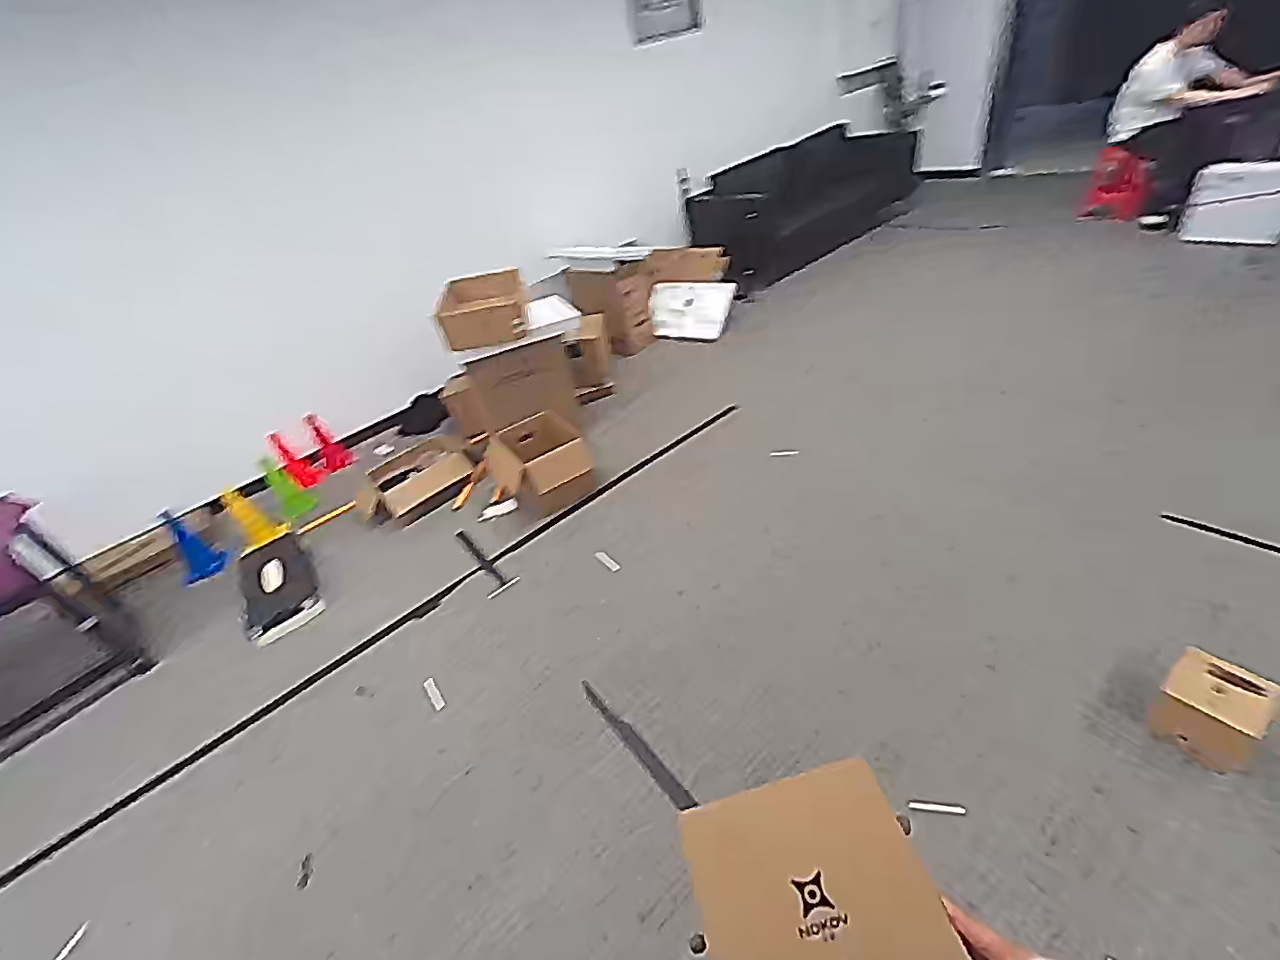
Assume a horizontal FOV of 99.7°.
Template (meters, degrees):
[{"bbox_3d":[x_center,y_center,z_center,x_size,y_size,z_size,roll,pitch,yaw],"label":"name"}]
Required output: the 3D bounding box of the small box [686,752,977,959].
[{"bbox_3d":[0.145,0.358,0.430,0.168,0.176,0.179,-17,37,0],"label":"small box"}]
